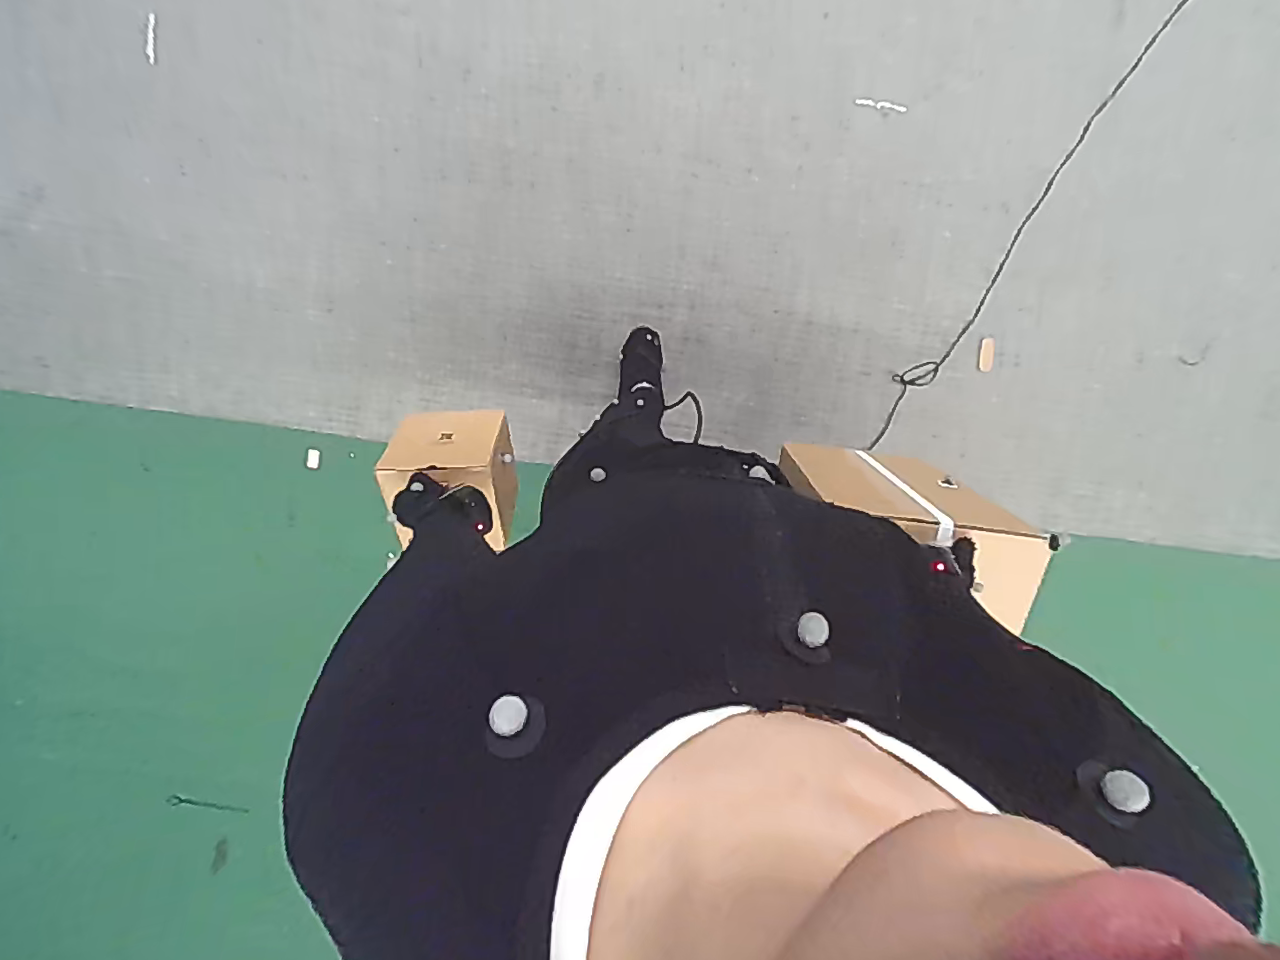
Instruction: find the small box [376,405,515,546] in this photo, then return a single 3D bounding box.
[{"bbox_3d":[-0.308,-0.010,0.901,0.168,0.179,0.176,-3,127,-2],"label":"small box"}]
